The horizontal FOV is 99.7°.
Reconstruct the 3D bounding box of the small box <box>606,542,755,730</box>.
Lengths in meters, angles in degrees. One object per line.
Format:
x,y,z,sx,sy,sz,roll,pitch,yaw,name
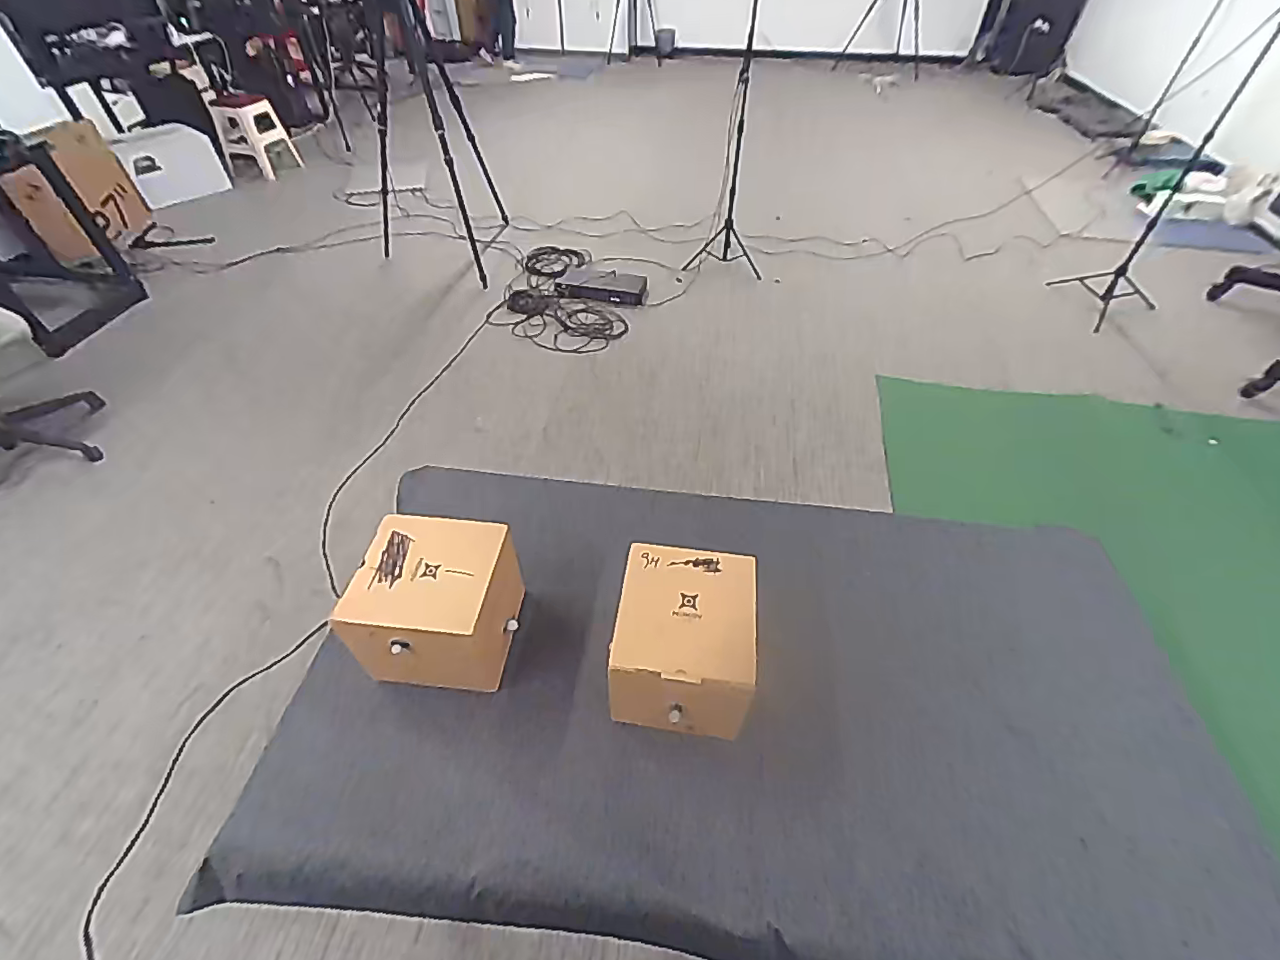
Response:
0.056,0.207,0.710,0.168,0.176,0.179,7,48,5,small box

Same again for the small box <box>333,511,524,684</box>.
-0.271,0.164,0.743,0.179,0.176,0.168,6,48,3,small box
